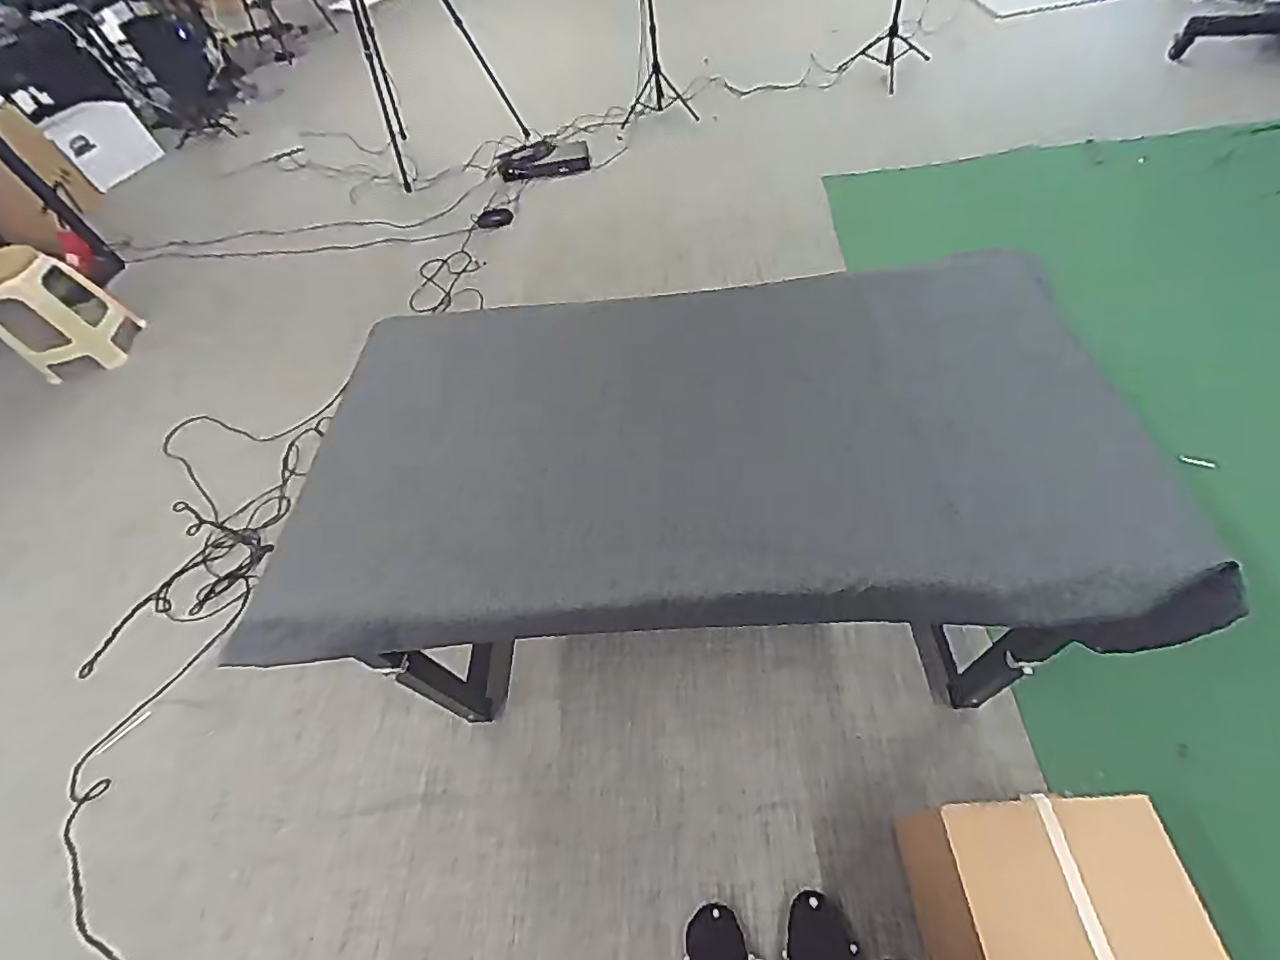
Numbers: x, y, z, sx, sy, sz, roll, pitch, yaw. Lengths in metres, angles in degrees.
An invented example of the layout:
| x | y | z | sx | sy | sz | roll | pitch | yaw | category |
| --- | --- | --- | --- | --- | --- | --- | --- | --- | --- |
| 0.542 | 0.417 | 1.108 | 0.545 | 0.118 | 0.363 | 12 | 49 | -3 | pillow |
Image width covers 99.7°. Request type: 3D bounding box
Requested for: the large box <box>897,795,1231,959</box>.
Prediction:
| x | y | z | sx | sy | sz | roll | pitch | yaw | category |
| --- | --- | --- | --- | --- | --- | --- | --- | --- | --- |
| 0.656 | 0.747 | 0.847 | 0.320 | 0.320 | 0.408 | -7 | 54 | 6 | large box |
